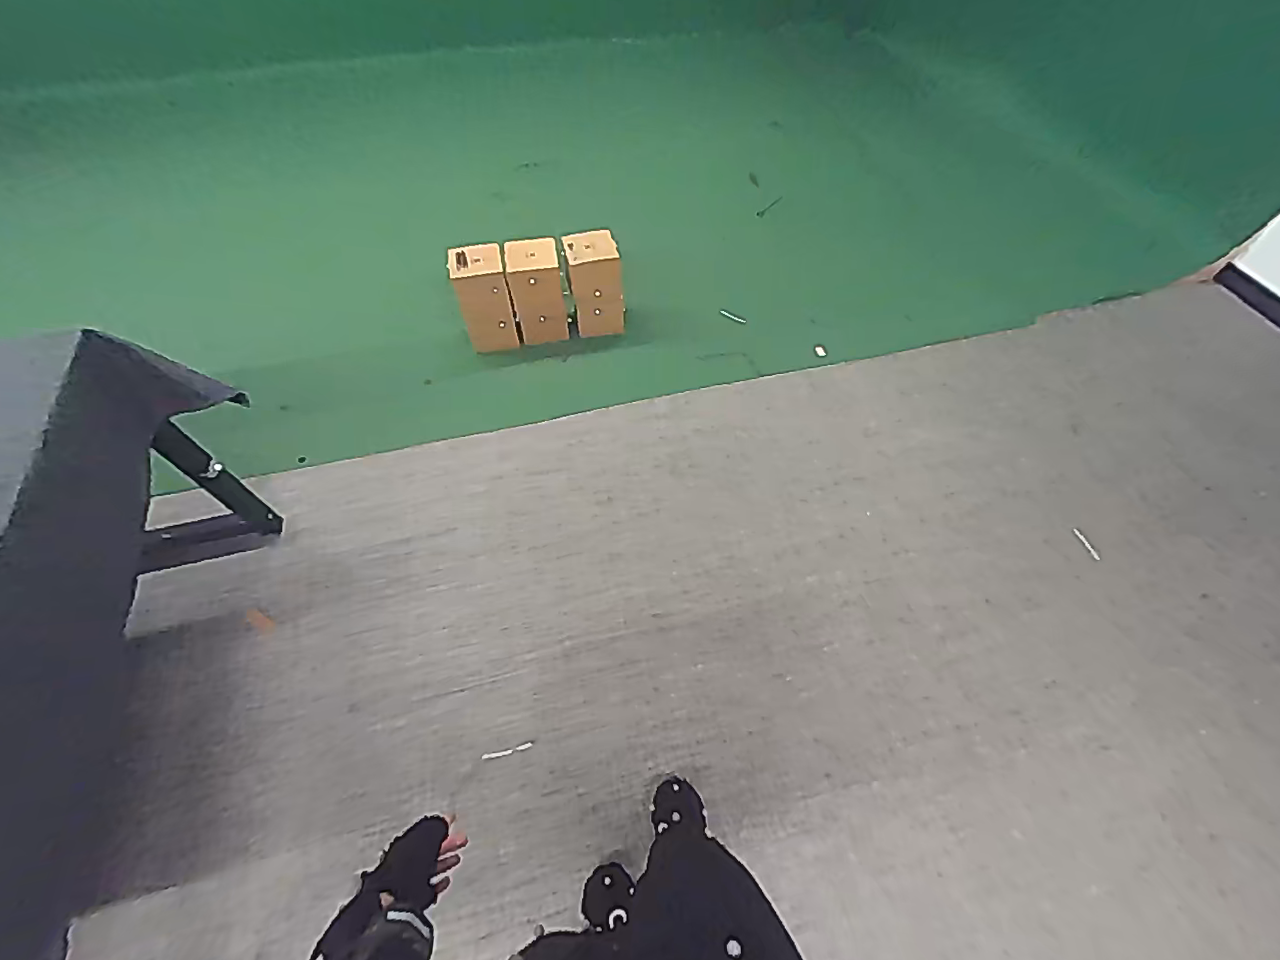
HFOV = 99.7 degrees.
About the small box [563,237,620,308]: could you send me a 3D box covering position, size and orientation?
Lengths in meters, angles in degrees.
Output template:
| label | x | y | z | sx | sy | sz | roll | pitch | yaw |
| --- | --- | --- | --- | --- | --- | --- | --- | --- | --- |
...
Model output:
| label | x | y | z | sx | sy | sz | roll | pitch | yaw |
| --- | --- | --- | --- | --- | --- | --- | --- | --- | --- |
| small box | -0.174 | -0.744 | 1.941 | 0.179 | 0.176 | 0.168 | -11 | 57 | -9 |
